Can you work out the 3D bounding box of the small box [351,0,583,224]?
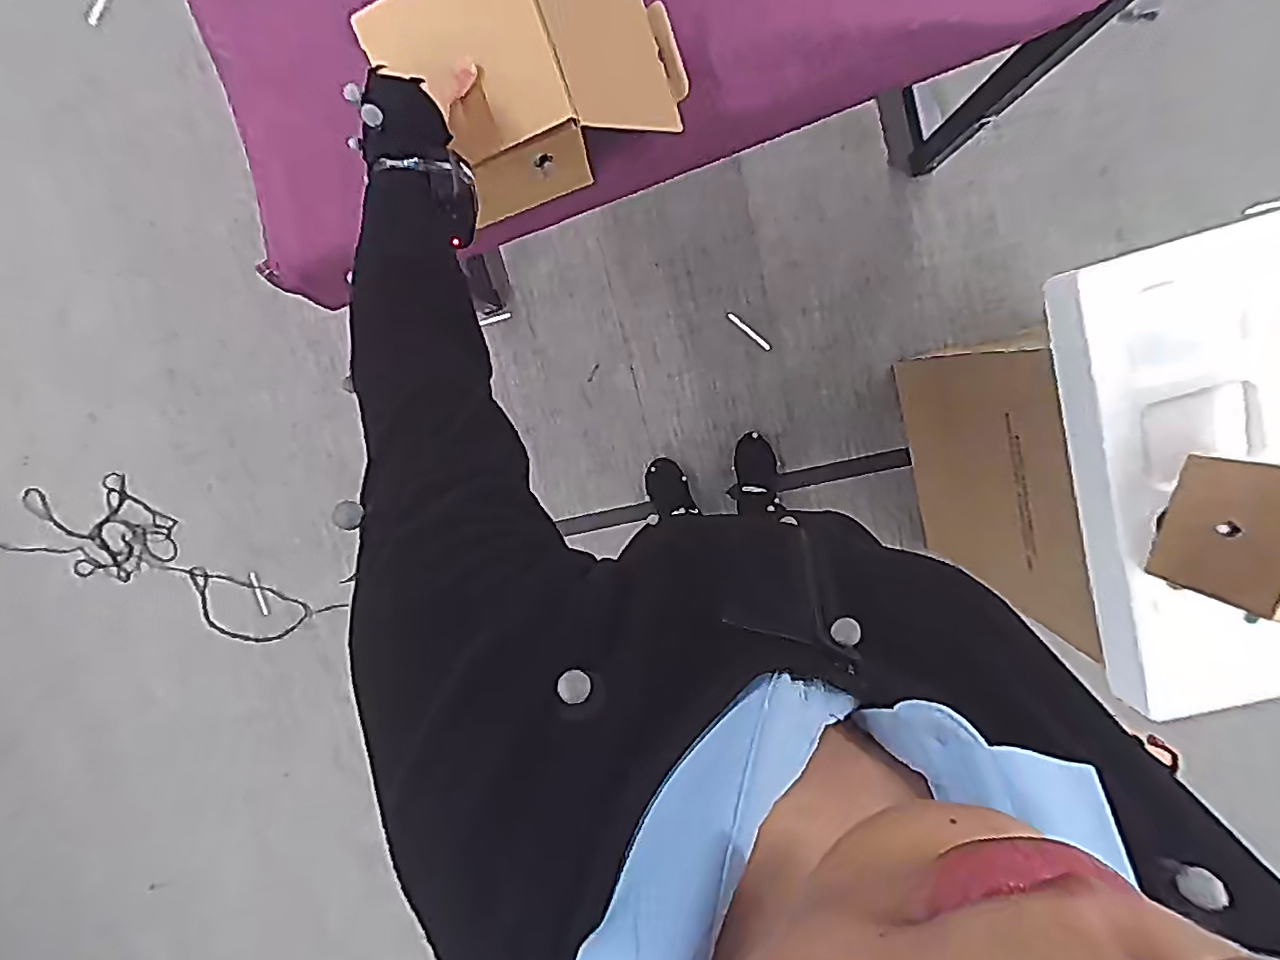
[{"bbox_3d":[-0.169,-0.413,0.601,0.179,0.176,0.168,-19,101,4],"label":"small box"}]
